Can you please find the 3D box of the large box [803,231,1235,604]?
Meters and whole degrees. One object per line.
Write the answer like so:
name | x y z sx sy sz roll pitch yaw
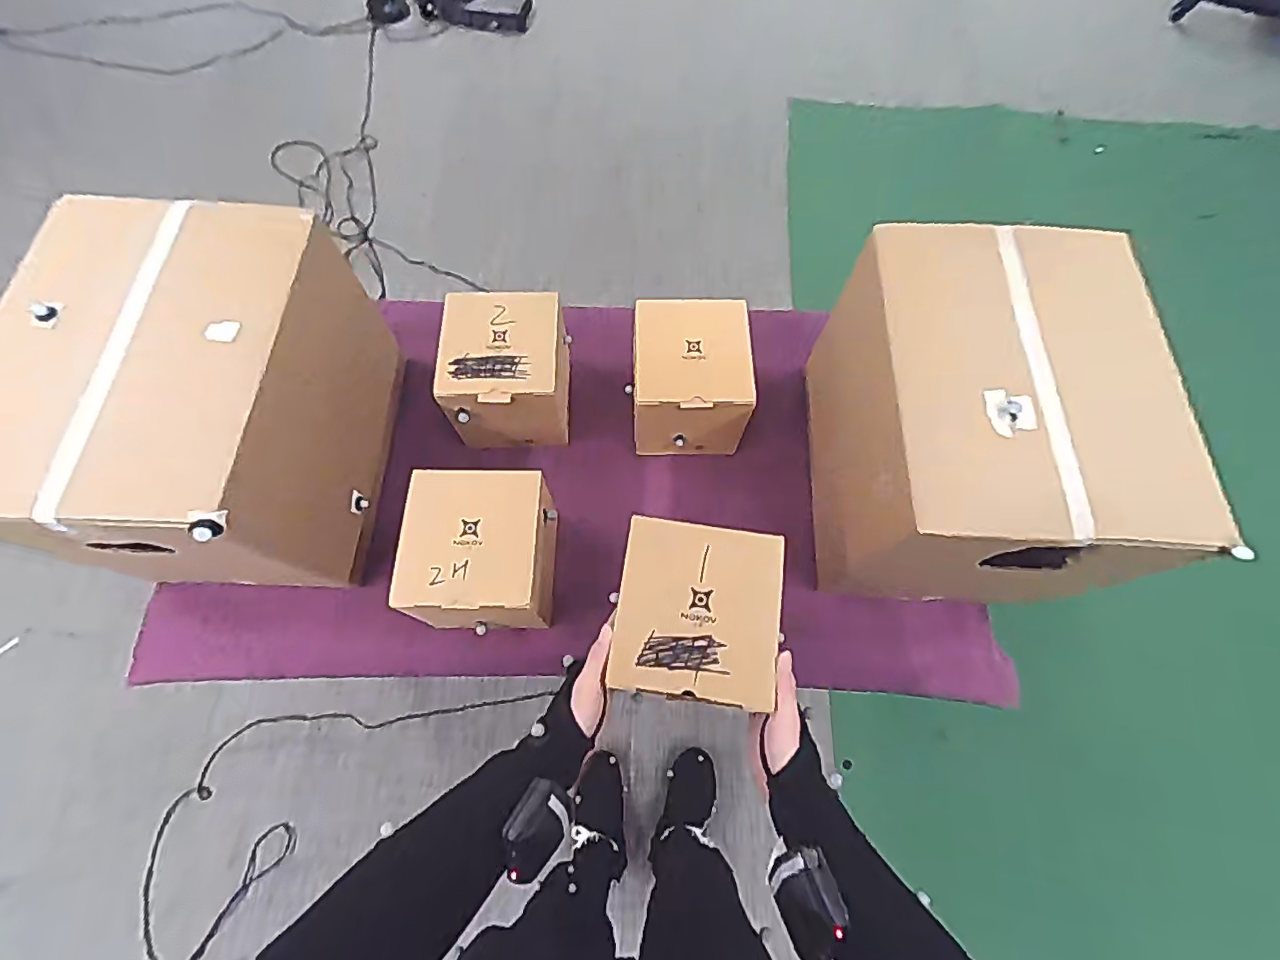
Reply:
large box | 0.430 -0.062 0.733 0.320 0.320 0.408 2 68 1

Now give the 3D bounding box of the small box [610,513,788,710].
small box | 0.064 0.154 0.618 0.168 0.176 0.179 8 69 3

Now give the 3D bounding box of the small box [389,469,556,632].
small box | -0.206 0.099 0.721 0.168 0.176 0.179 1 67 -1
